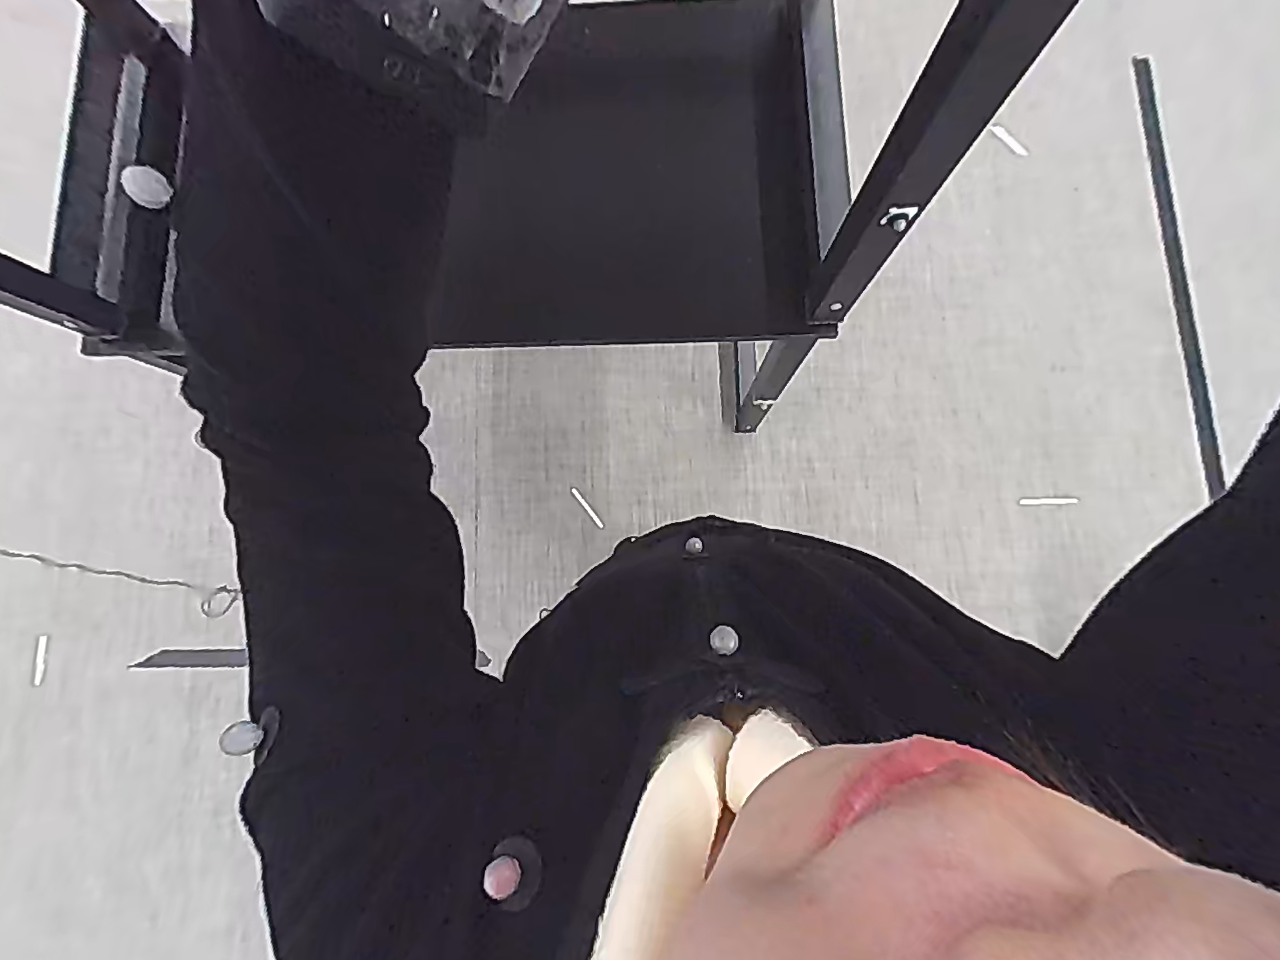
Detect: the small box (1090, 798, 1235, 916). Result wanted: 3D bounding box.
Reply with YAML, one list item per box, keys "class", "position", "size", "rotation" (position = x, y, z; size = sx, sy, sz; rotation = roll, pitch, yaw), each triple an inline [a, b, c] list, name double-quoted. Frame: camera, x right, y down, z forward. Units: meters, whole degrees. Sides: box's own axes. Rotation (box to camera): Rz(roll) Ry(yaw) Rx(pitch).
- class: "small box"
  position: [1.219, 0.884, 1.283]
  size: [0.179, 0.176, 0.168]
  rotation: [-8, 83, 1]
